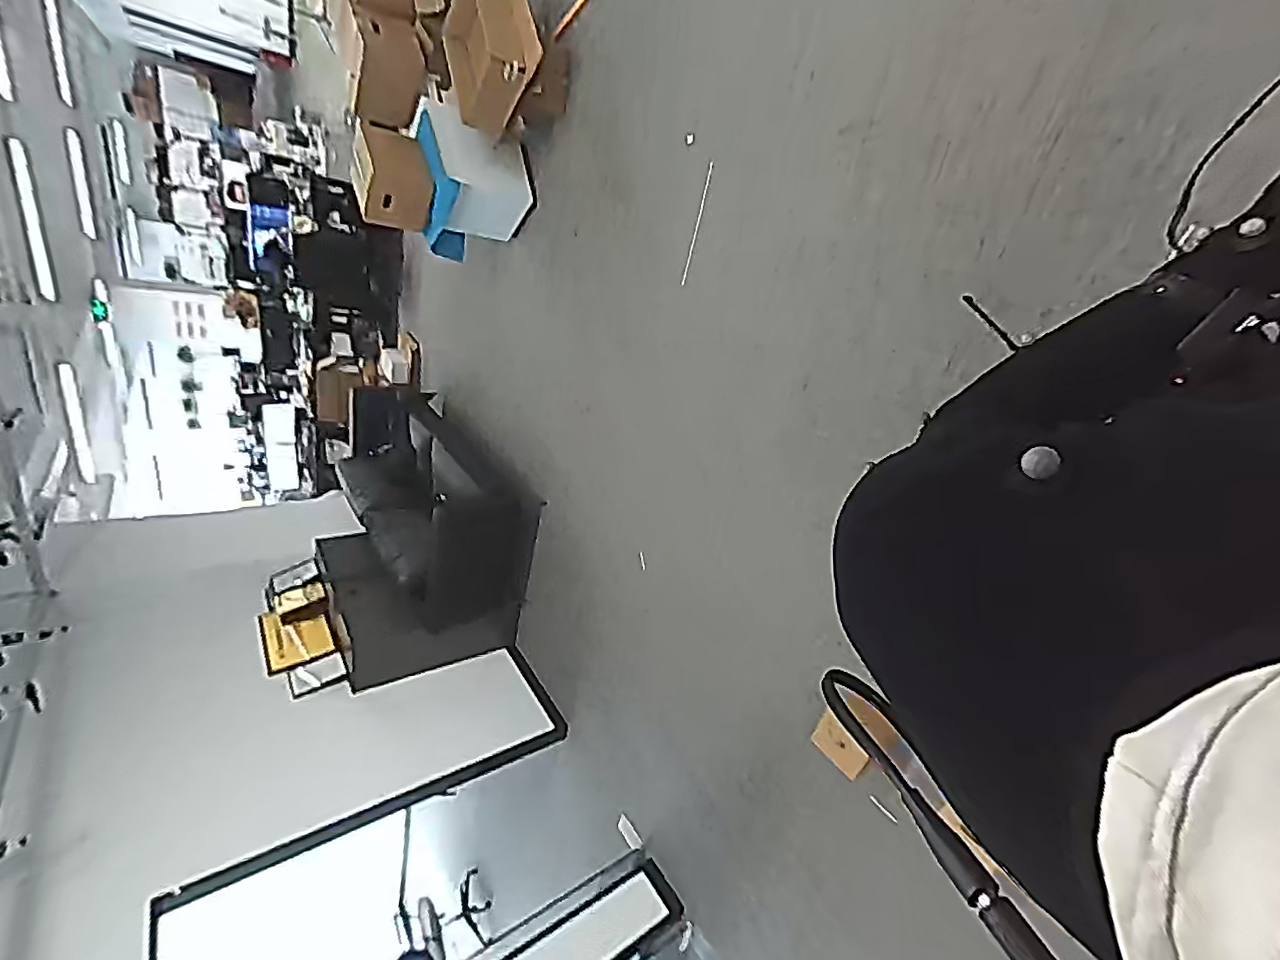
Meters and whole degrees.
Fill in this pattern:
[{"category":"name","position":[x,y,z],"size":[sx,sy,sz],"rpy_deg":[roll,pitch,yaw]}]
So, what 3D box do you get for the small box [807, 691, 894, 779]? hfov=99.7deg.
[{"category":"small box","position":[0.695,0.830,1.778],"size":[0.179,0.176,0.168],"rpy_deg":[41,124,42]}]
